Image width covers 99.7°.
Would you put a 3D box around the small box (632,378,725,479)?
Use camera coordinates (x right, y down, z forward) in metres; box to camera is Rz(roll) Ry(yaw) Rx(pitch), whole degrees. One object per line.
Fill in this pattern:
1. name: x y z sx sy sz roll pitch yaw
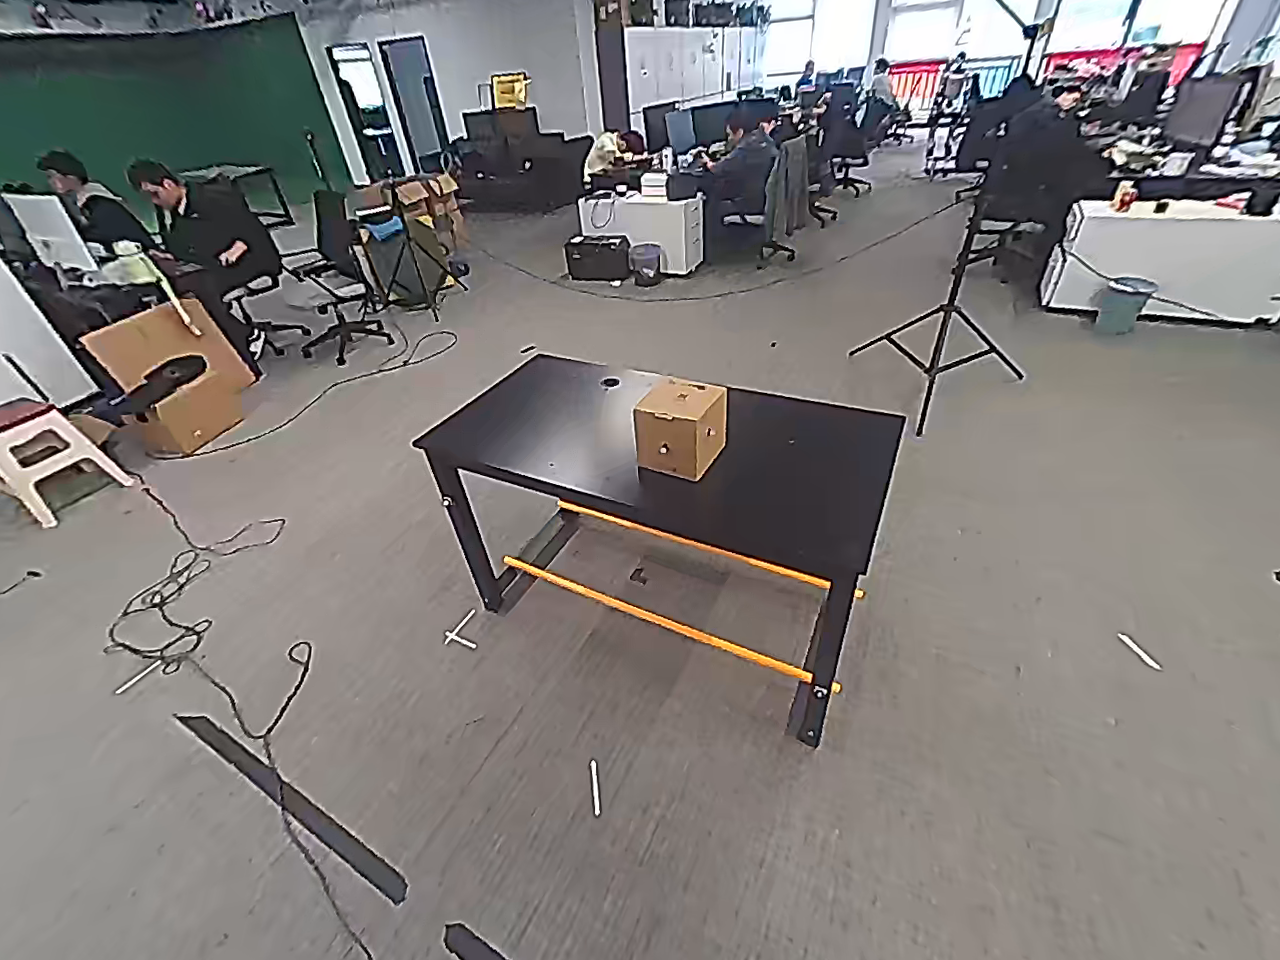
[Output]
1. small box: 0.101 -0.126 1.321 0.168 0.176 0.179 16 43 26
